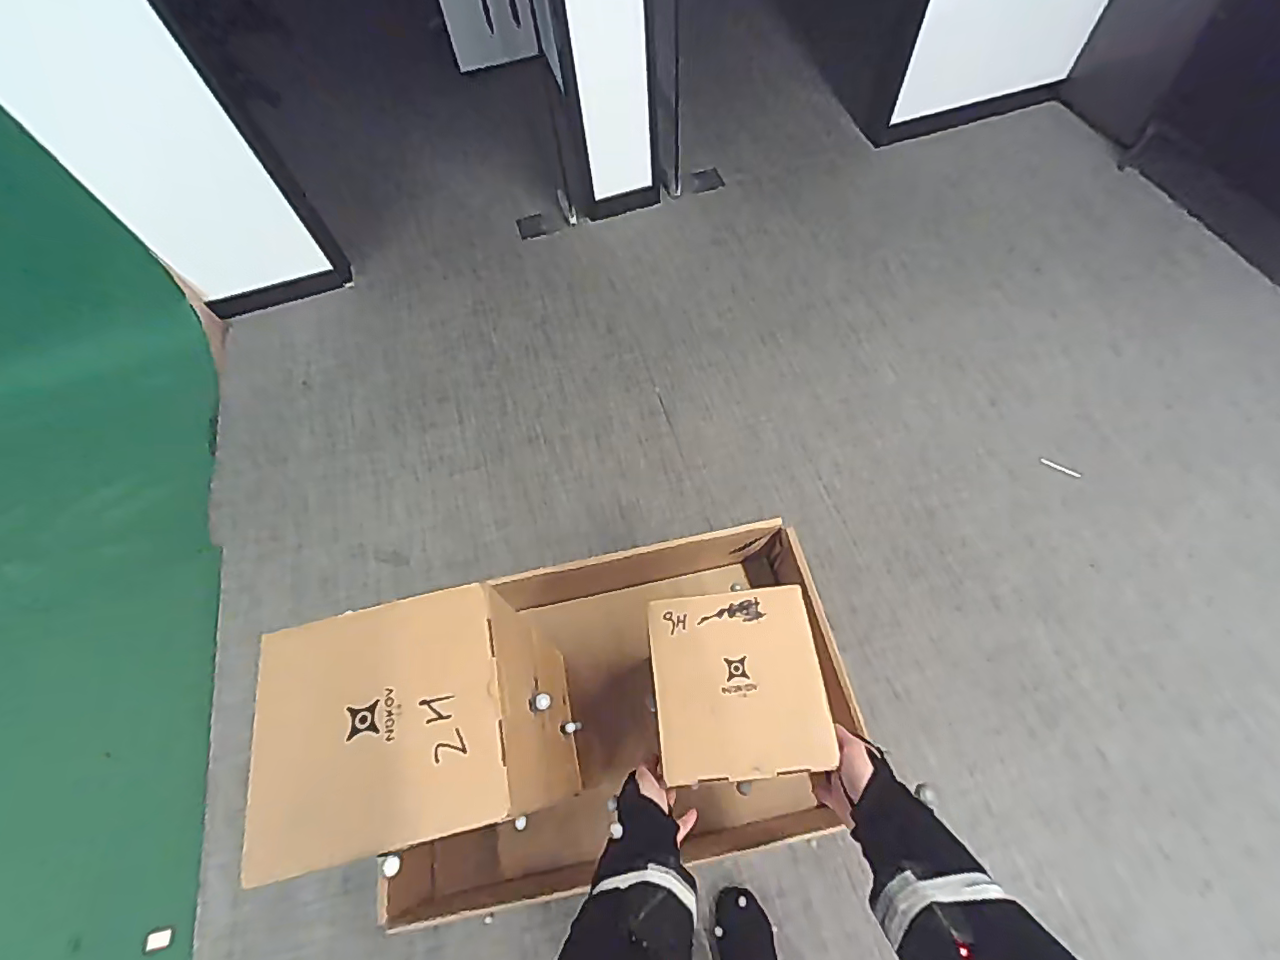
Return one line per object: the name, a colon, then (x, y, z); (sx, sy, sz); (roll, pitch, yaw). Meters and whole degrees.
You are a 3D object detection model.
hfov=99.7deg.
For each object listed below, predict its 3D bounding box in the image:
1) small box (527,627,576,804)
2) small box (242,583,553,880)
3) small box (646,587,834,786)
small box: (-0.178, 0.279, 0.602); (0.179, 0.176, 0.168); (-12, 63, -4)
small box: (-0.183, 0.205, 0.455); (0.179, 0.176, 0.168); (-12, 63, -5)
small box: (0.098, 0.232, 0.607); (0.168, 0.176, 0.179); (-6, 63, 1)
